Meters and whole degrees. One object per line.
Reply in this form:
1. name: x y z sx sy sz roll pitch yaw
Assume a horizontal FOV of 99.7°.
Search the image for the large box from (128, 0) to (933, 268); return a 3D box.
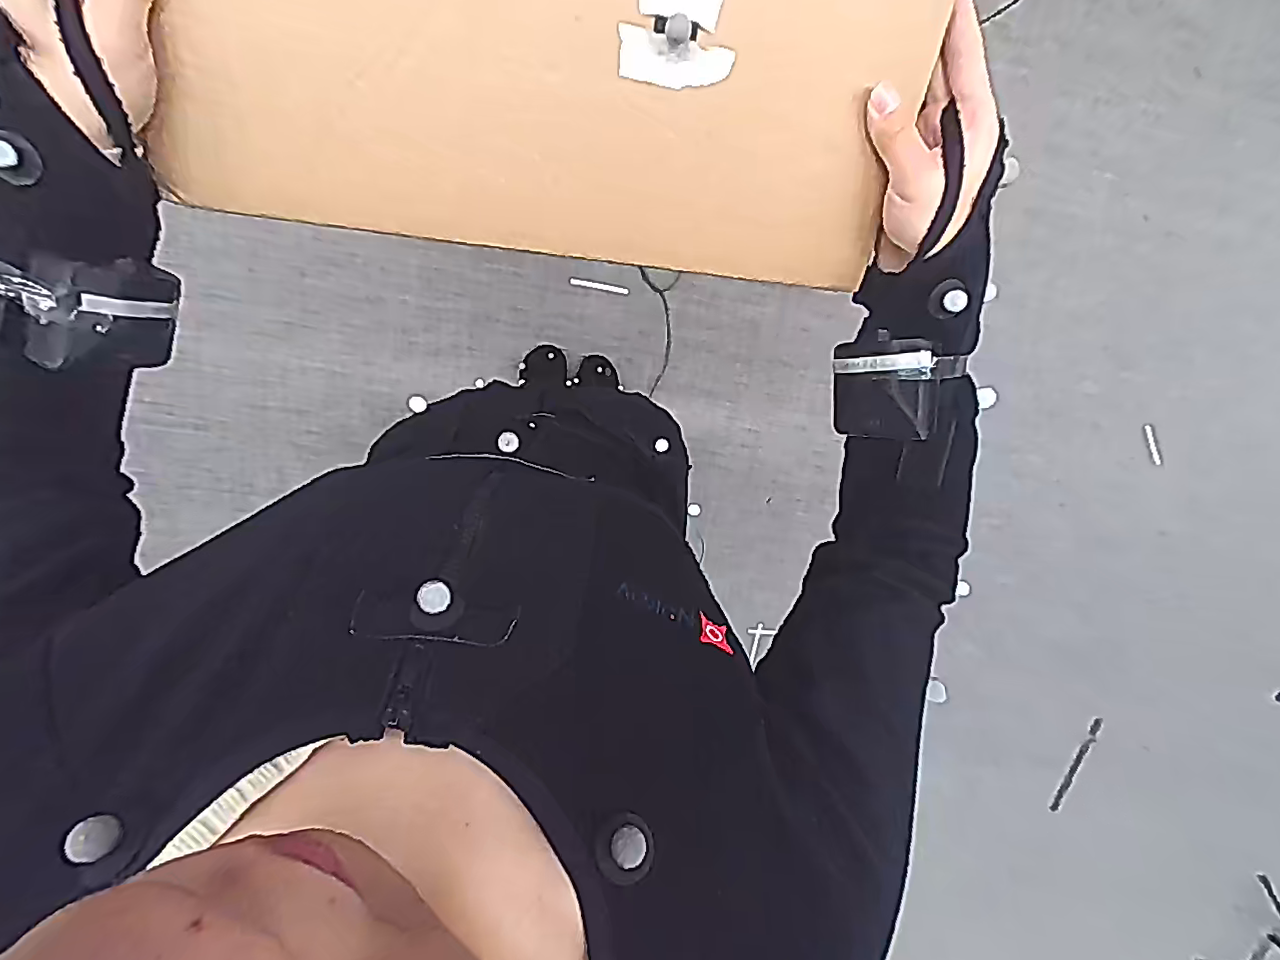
1. large box: -0.053 -0.355 0.376 0.408 0.320 0.320 4 122 -8
